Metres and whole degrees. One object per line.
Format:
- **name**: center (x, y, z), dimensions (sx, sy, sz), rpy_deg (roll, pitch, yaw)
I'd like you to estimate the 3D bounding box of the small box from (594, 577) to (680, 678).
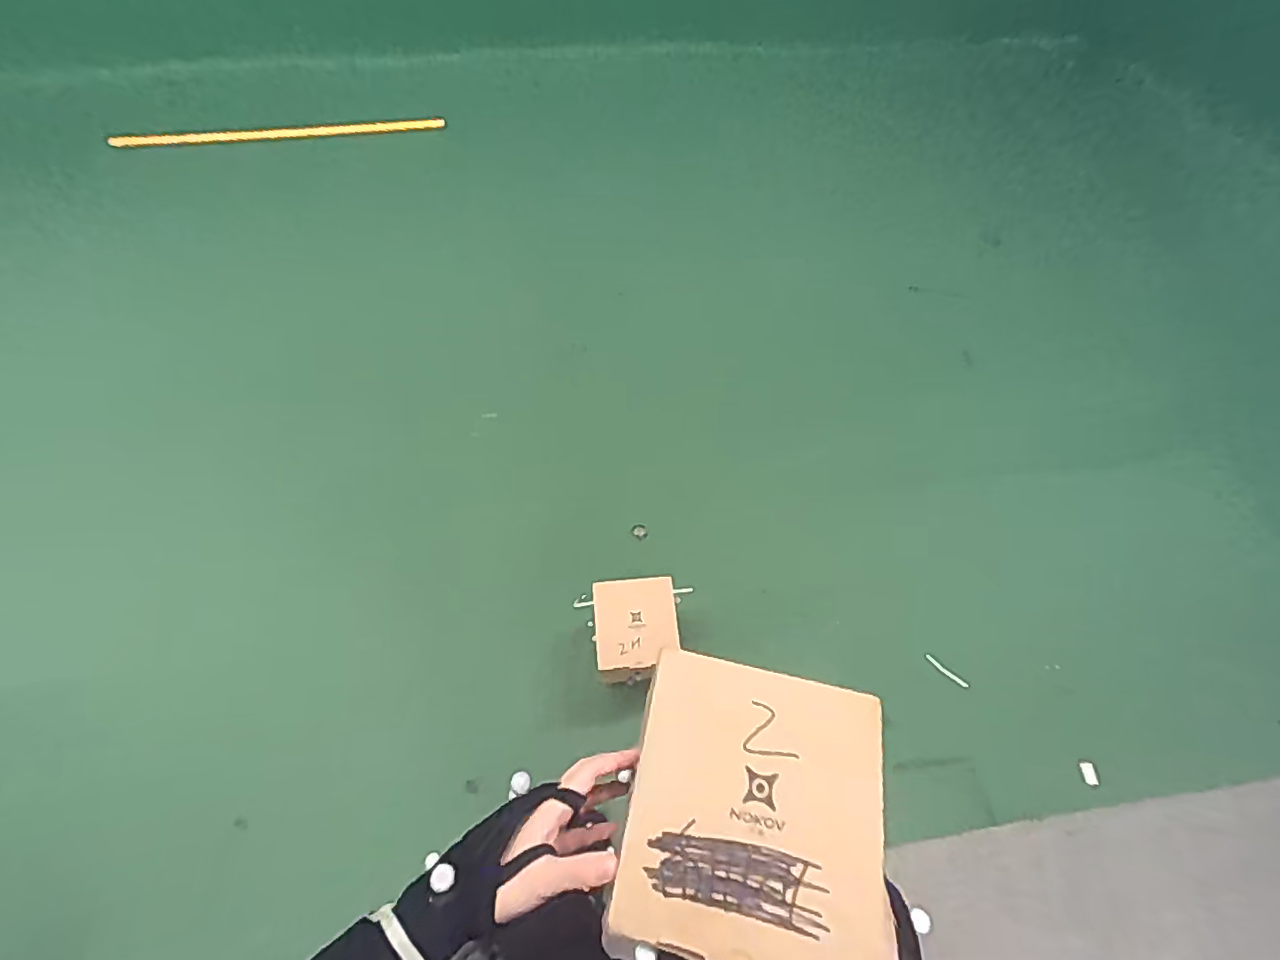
- **small box**: center (-0.013, 0.317, 1.152), dimensions (0.168, 0.176, 0.179), rpy_deg (-4, 65, -4)
